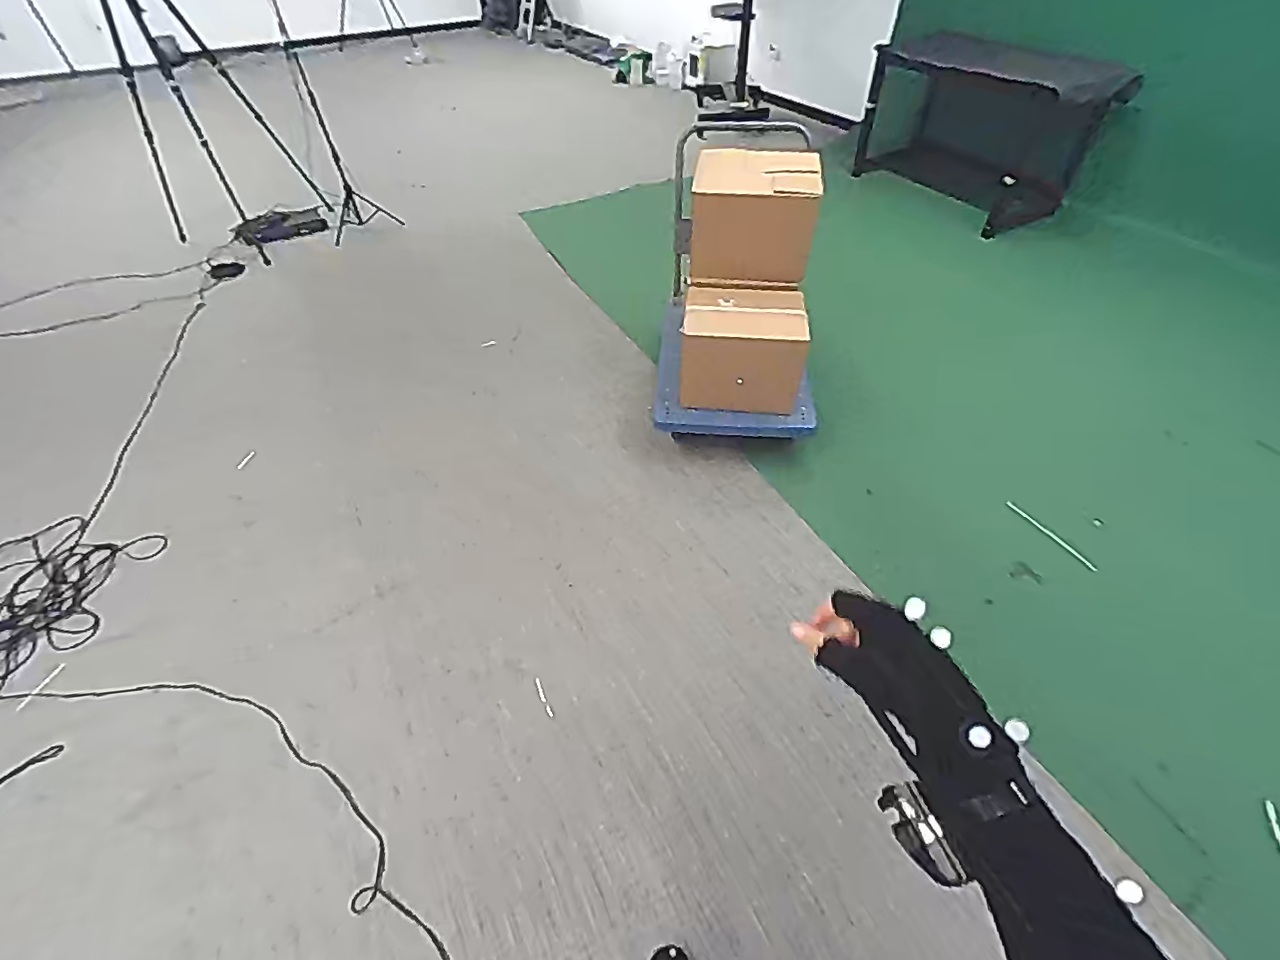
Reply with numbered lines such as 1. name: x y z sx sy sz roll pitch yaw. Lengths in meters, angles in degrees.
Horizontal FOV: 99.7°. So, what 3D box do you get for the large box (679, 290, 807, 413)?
1. large box: 0.351 -0.457 1.922 0.408 0.320 0.320 4 47 7
